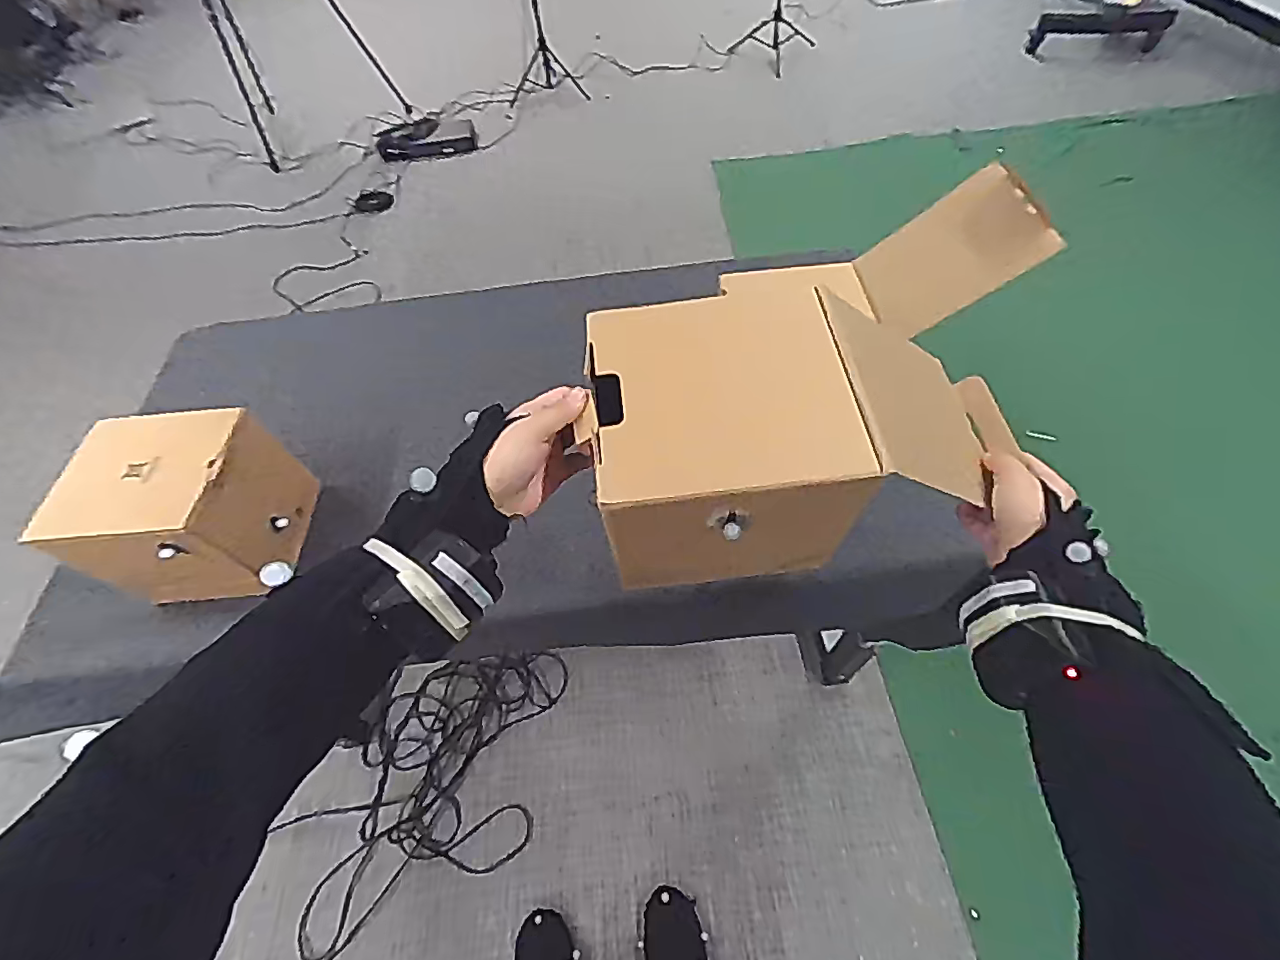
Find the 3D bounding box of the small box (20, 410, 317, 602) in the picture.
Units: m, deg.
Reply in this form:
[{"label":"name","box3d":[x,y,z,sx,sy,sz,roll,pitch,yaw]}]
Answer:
[{"label":"small box","box3d":[-0.539,0.038,0.654,0.179,0.176,0.168,-5,55,1]}]
